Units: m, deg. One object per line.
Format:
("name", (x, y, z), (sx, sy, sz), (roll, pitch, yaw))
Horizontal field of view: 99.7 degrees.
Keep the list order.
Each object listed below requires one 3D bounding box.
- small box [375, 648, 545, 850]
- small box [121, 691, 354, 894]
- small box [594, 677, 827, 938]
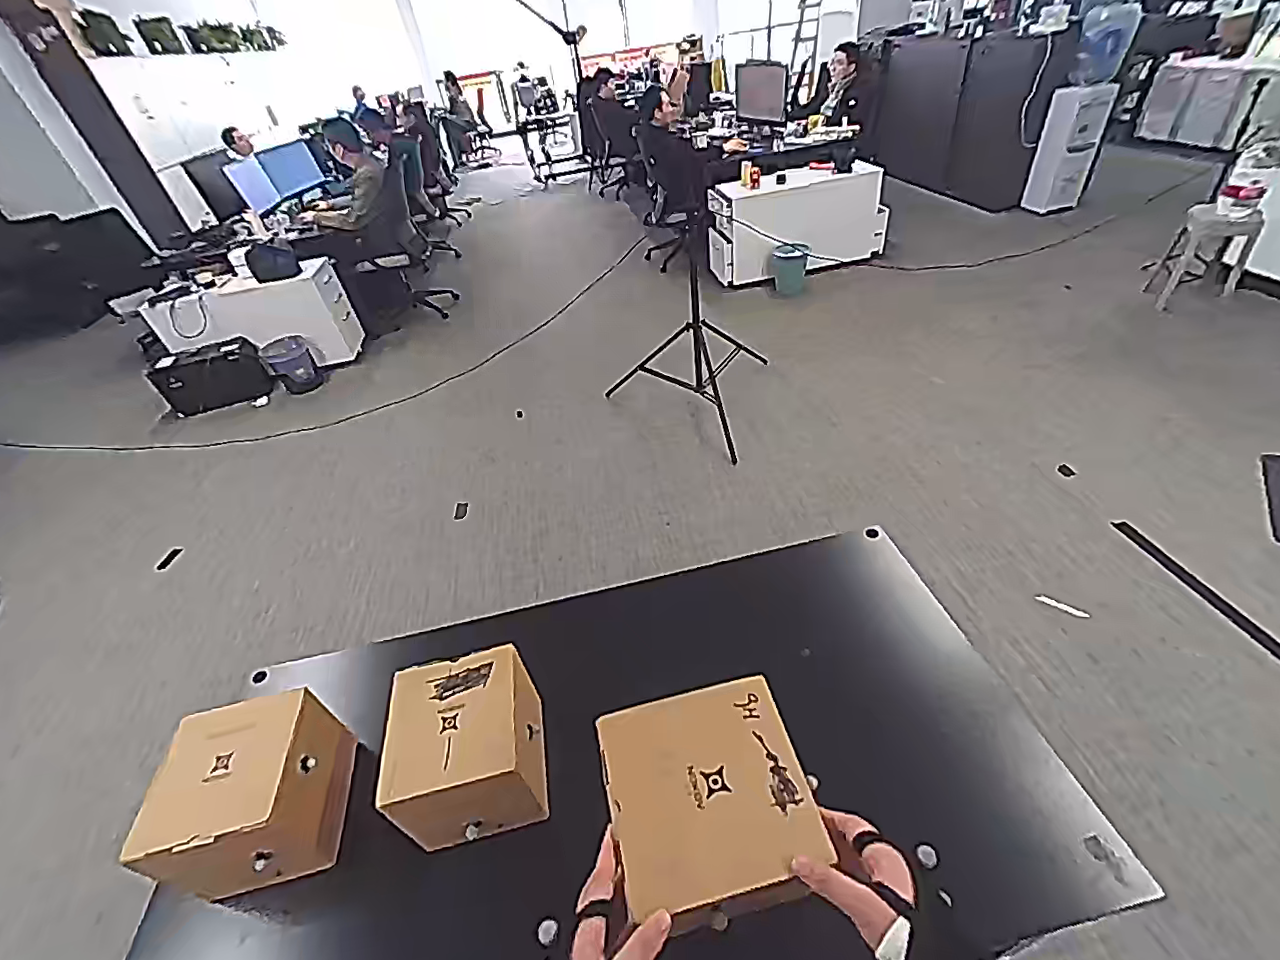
("small box", (-0.232, 0.366, 0.741), (0.168, 0.176, 0.179), (-13, 41, -4))
("small box", (-0.513, 0.423, 0.728), (0.168, 0.176, 0.179), (-13, 39, -6))
("small box", (0.063, 0.331, 0.545), (0.179, 0.176, 0.168), (-13, 45, -6))
